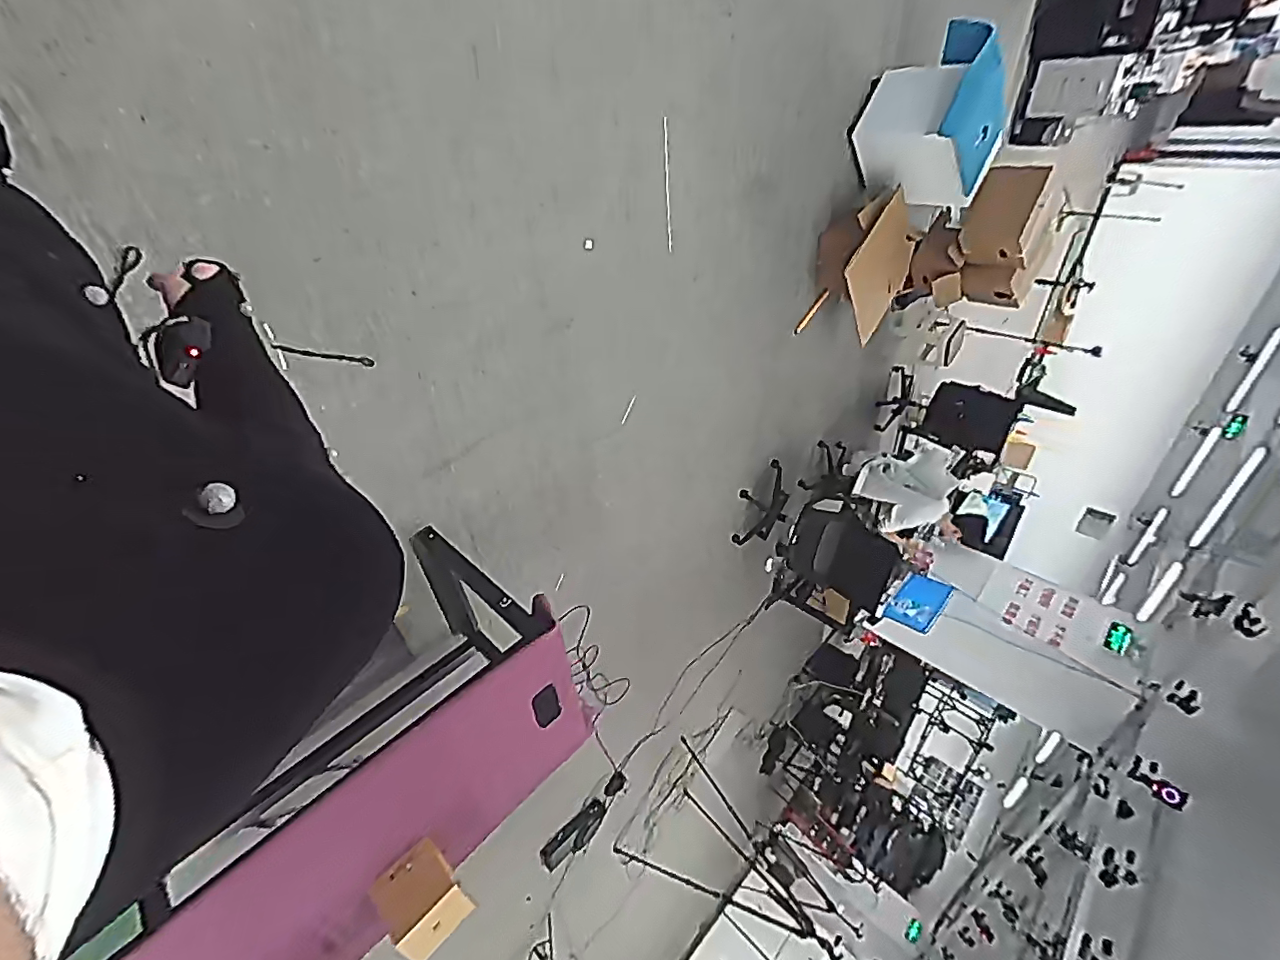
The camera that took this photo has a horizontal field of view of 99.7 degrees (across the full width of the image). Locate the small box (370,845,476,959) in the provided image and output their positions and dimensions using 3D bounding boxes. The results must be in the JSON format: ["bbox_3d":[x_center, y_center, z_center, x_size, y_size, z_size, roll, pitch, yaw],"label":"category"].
[{"bbox_3d":[-0.549,1.080,1.374,0.168,0.176,0.179,-35,135,-33],"label":"small box"}]
